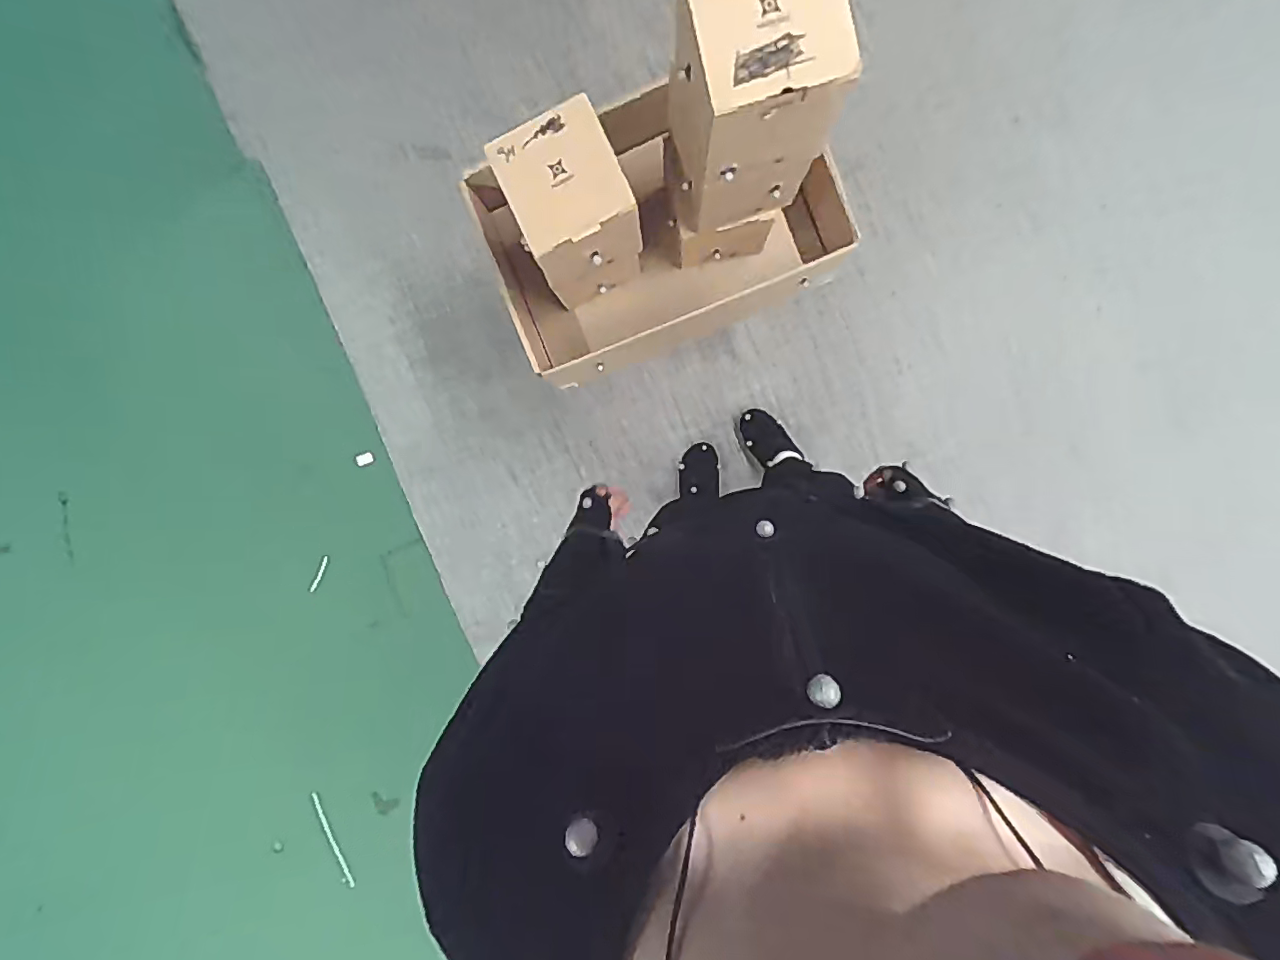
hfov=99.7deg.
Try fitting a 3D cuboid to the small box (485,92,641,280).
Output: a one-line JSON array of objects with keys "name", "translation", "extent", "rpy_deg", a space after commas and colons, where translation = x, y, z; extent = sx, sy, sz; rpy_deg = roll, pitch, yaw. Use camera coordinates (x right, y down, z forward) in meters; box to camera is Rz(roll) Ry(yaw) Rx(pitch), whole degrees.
[{"name": "small box", "translation": [-0.105, -0.430, 0.832], "extent": [0.168, 0.176, 0.179], "rpy_deg": [-25, 92, 4]}]

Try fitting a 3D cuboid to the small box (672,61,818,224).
[{"name": "small box", "translation": [0.149, -0.511, 0.814], "extent": [0.168, 0.176, 0.179], "rpy_deg": [-16, 92, 4]}]

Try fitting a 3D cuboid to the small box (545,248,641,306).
[{"name": "small box", "translation": [-0.108, -0.449, 0.996], "extent": [0.168, 0.176, 0.179], "rpy_deg": [-25, 92, 5]}]

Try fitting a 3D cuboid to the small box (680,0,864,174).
[{"name": "small box", "translation": [0.145, -0.501, 0.651], "extent": [0.168, 0.176, 0.179], "rpy_deg": [-13, 92, 3]}]
